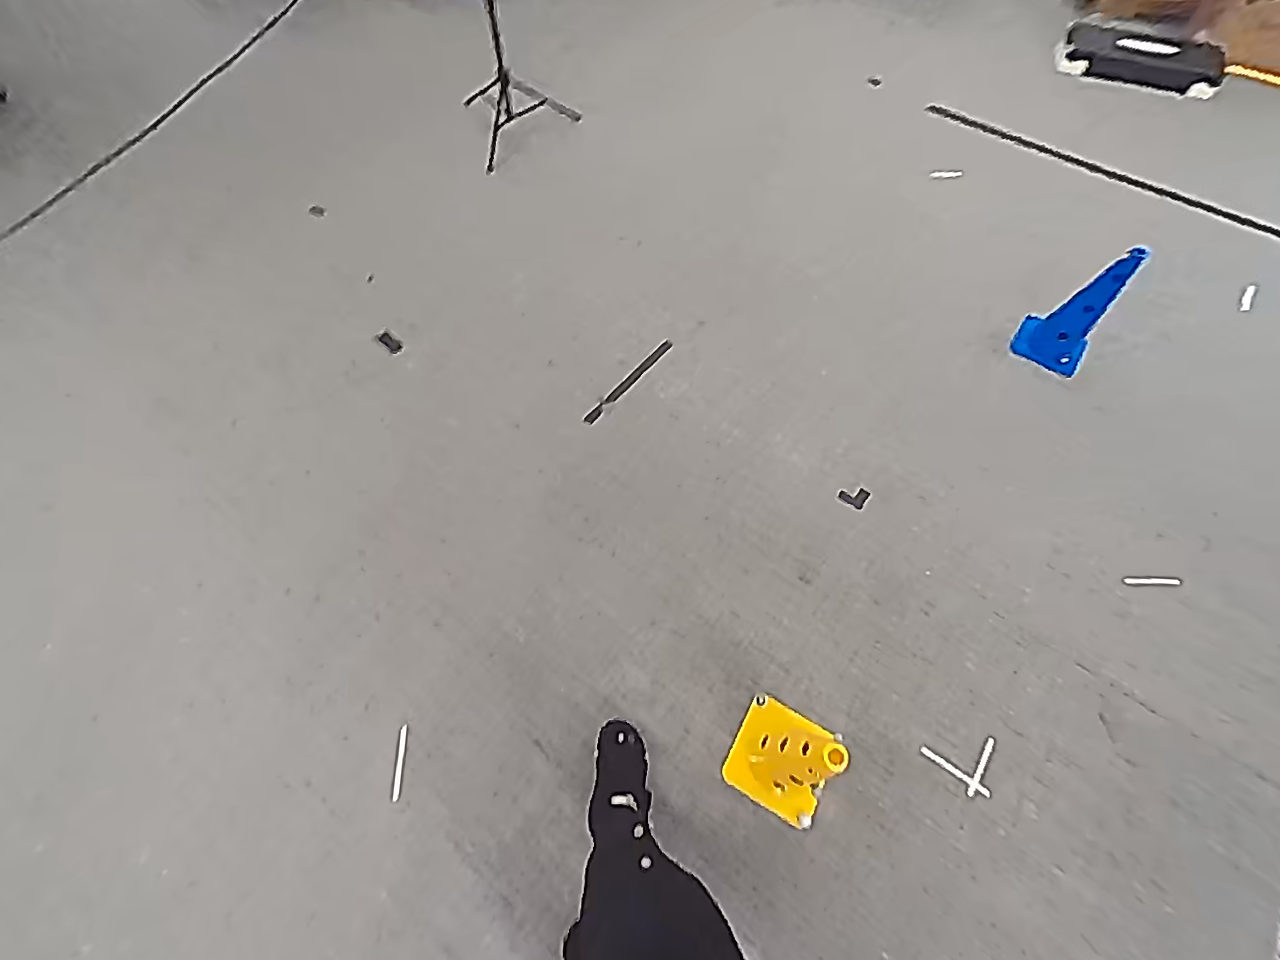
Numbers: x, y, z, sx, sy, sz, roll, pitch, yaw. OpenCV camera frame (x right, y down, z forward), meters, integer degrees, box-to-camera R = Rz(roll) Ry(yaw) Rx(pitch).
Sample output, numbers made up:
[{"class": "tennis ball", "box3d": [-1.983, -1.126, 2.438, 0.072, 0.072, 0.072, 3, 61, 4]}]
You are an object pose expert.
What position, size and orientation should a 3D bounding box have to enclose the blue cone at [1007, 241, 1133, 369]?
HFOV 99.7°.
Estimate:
[{"class": "blue cone", "box3d": [1.290, -0.523, 1.583, 0.192, 0.380, 0.193, 34, 66, 17]}]
